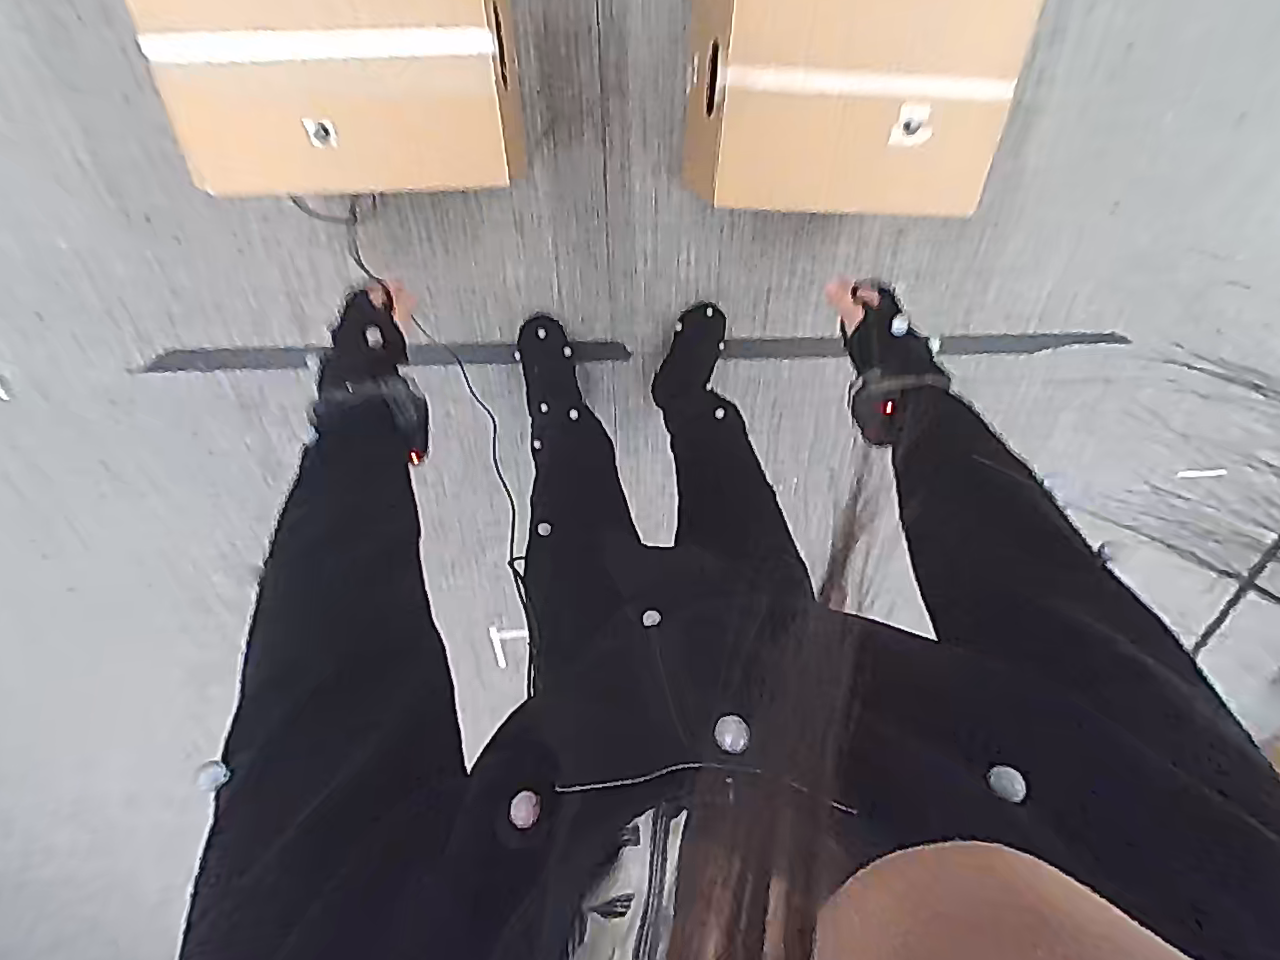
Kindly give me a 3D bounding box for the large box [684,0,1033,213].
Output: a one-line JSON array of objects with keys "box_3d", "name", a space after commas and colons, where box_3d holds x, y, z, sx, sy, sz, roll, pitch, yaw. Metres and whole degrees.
[{"box_3d": [0.297, -0.613, 0.863, 0.408, 0.320, 0.320, -1, 122, -6], "name": "large box"}]
